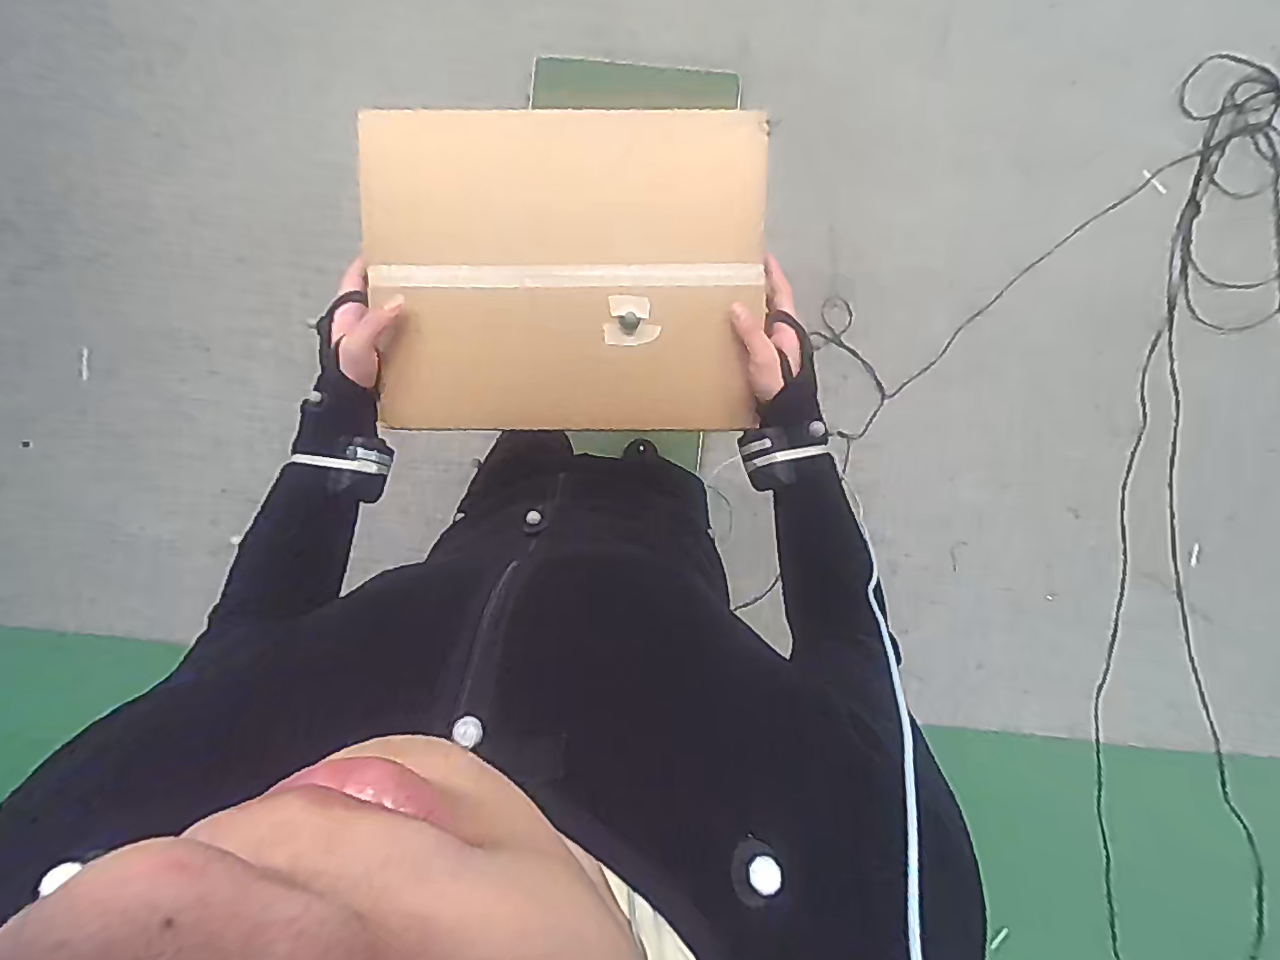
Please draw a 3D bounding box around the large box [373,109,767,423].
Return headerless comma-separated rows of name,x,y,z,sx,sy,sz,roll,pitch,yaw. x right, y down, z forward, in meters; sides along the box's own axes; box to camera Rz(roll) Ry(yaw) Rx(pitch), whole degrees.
large box,-0.071,-0.237,0.708,0.408,0.320,0.320,0,98,0
